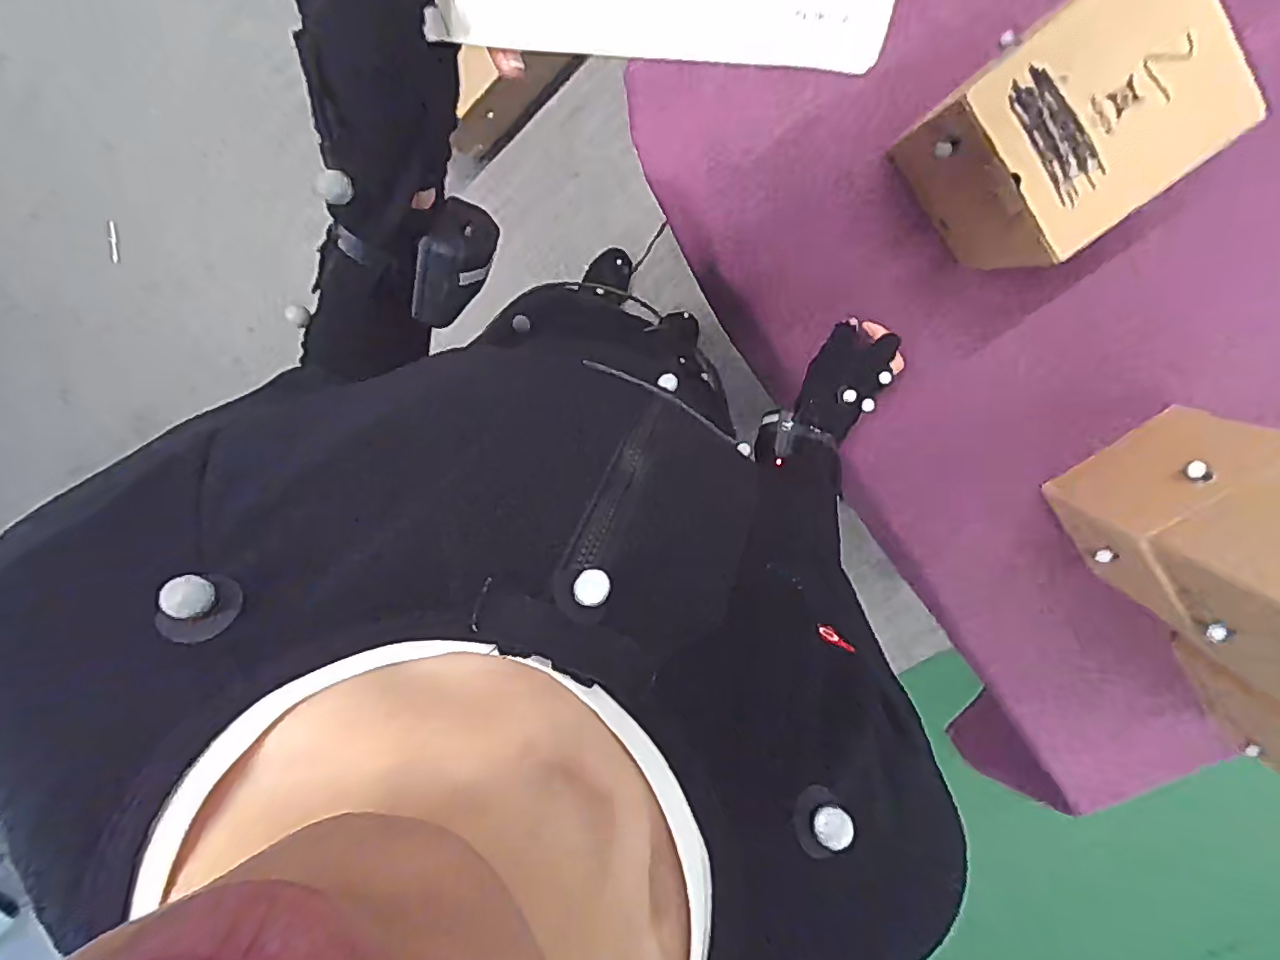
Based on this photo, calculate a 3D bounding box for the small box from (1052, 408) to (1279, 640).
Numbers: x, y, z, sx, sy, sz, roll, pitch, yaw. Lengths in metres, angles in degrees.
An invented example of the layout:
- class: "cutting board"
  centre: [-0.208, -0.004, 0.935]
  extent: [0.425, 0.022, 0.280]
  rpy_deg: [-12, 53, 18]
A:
- class: "small box"
  centre: [0.628, 0.041, 0.624]
  extent: [0.179, 0.176, 0.168]
  rpy_deg: [-37, 103, 15]

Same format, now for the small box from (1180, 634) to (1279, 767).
- class: "small box"
  centre: [0.852, 0.263, 0.685]
  extent: [0.179, 0.176, 0.168]
  rpy_deg: [-34, 104, 14]

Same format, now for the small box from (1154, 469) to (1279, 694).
- class: "small box"
  centre: [0.623, 0.095, 0.467]
  extent: [0.179, 0.176, 0.168]
  rpy_deg: [-34, 103, 14]
